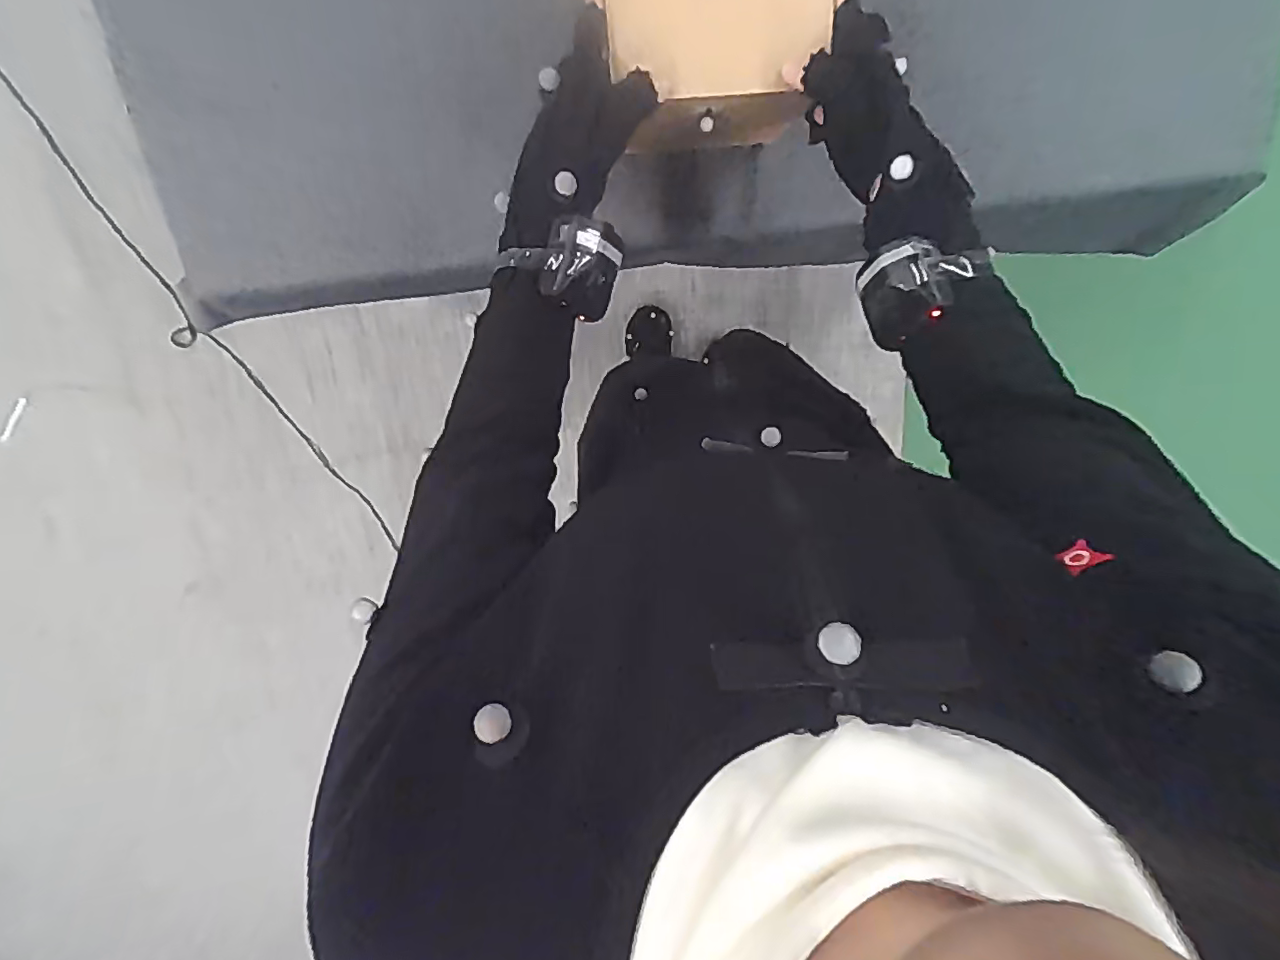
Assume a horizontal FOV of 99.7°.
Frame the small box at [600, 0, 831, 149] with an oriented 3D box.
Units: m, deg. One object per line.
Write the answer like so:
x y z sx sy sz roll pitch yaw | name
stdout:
0.053 -0.406 0.474 0.179 0.176 0.168 -6 111 -1 | small box
